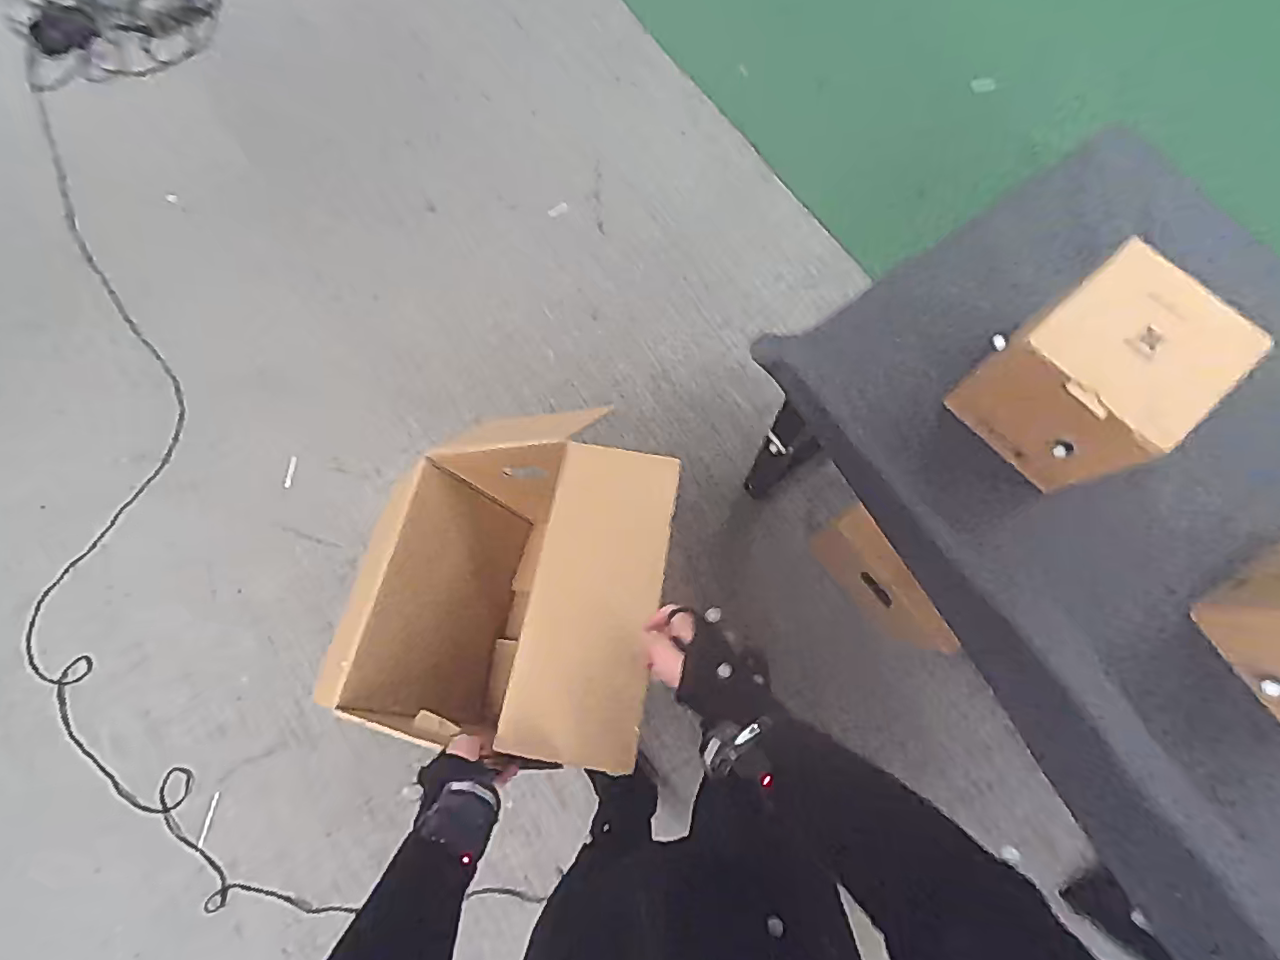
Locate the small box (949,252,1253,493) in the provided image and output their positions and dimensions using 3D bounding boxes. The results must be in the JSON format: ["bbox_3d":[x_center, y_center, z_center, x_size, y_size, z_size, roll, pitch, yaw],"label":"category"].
[{"bbox_3d":[0.496,-0.108,0.618,0.179,0.176,0.168,-41,79,-9],"label":"small box"}]
